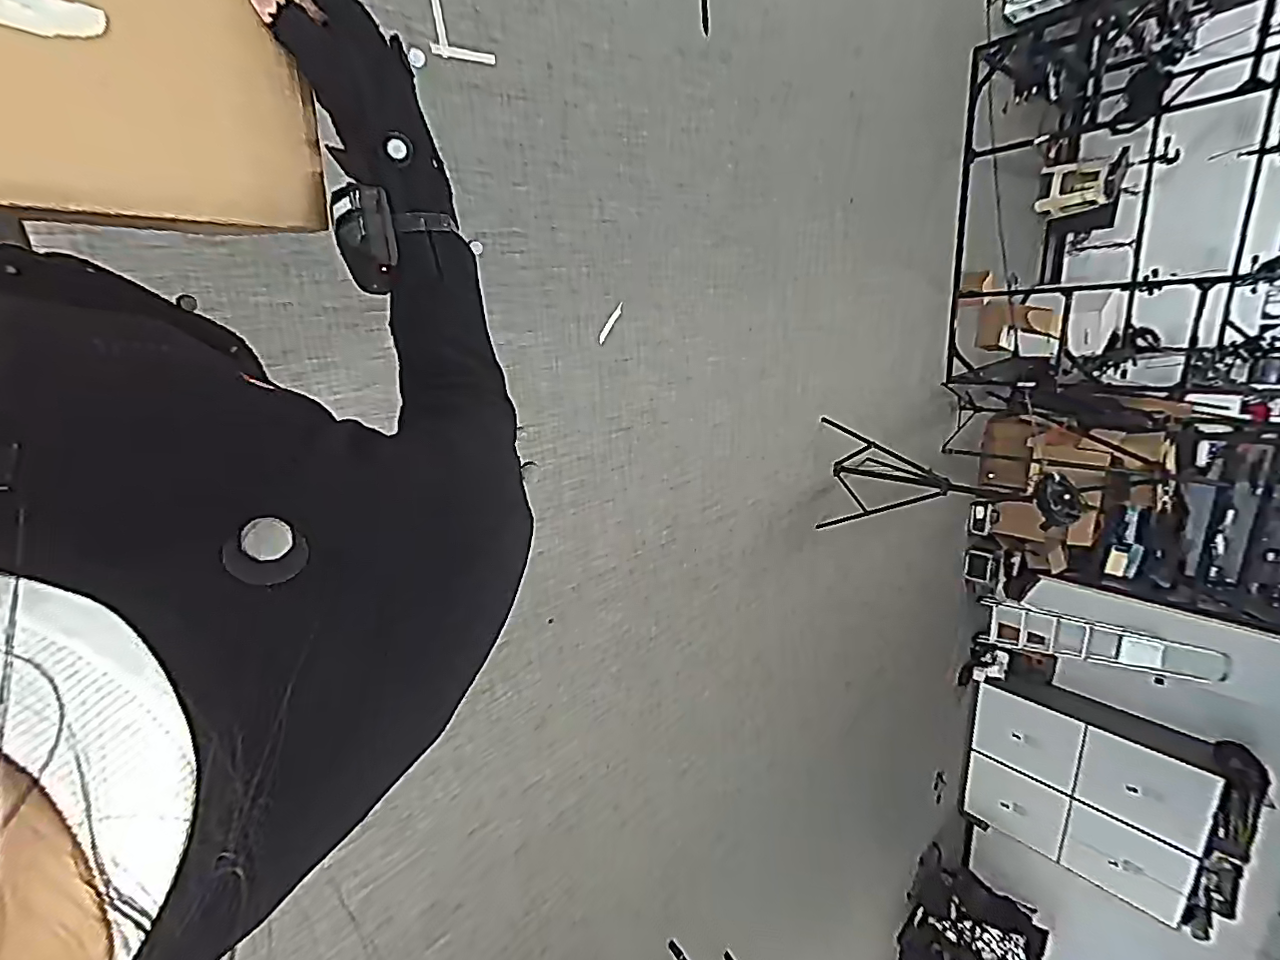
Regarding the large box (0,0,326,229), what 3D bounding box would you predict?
[{"bbox_3d":[-0.491,-0.343,0.344,0.408,0.320,0.320,-18,120,-42],"label":"large box"}]
